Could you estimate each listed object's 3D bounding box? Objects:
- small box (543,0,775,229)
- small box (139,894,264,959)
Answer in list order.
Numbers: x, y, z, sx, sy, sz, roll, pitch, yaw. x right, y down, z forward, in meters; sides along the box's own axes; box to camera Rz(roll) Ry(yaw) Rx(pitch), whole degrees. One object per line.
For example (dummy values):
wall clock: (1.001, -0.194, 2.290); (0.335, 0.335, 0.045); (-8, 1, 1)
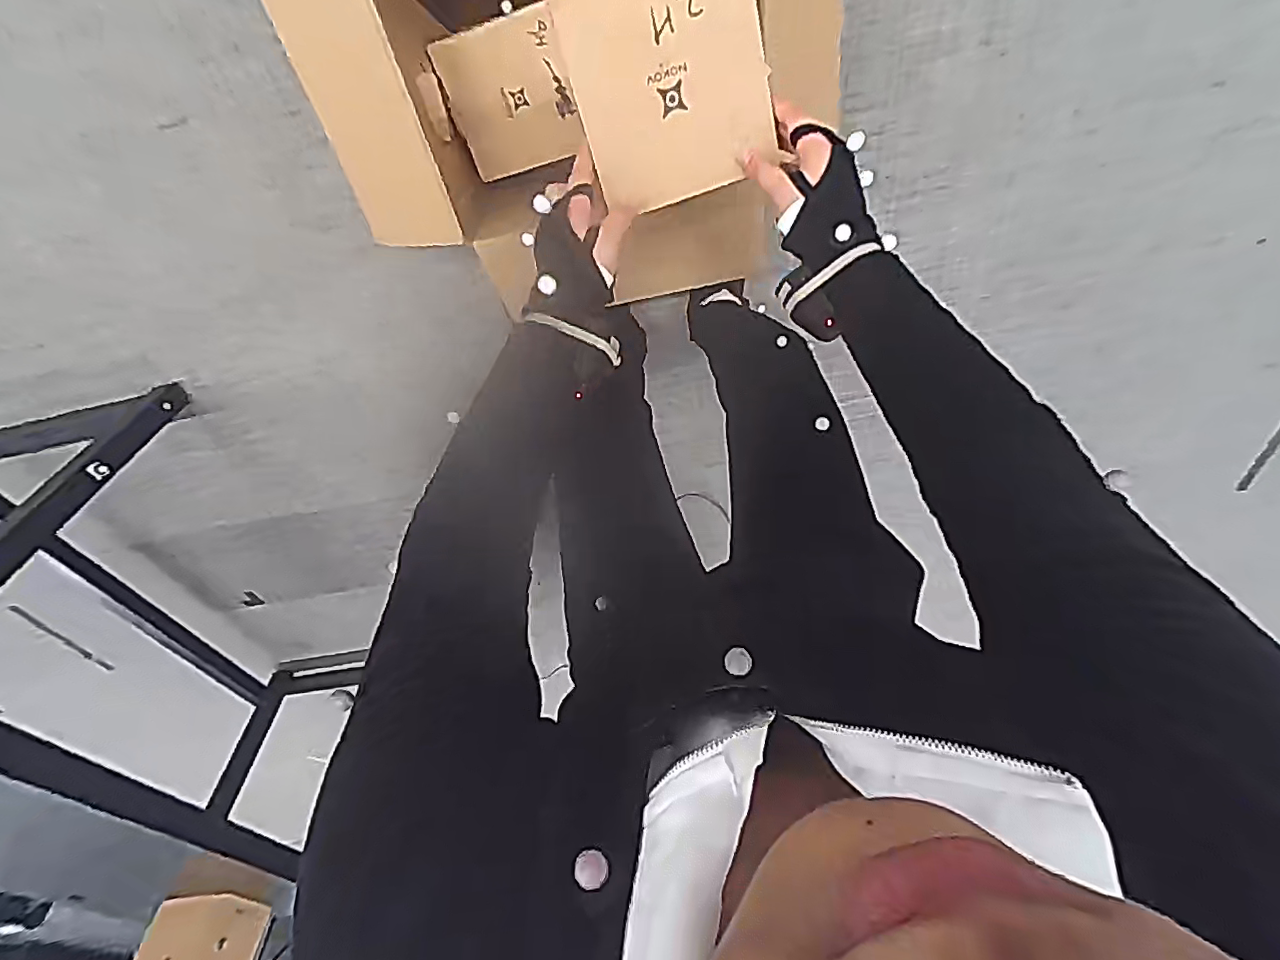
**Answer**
small box: (0.021, -0.367, 0.529); (0.168, 0.176, 0.179); (-16, 118, 6)
small box: (-1.033, 1.096, 1.271); (0.179, 0.176, 0.168); (-10, 130, 7)
